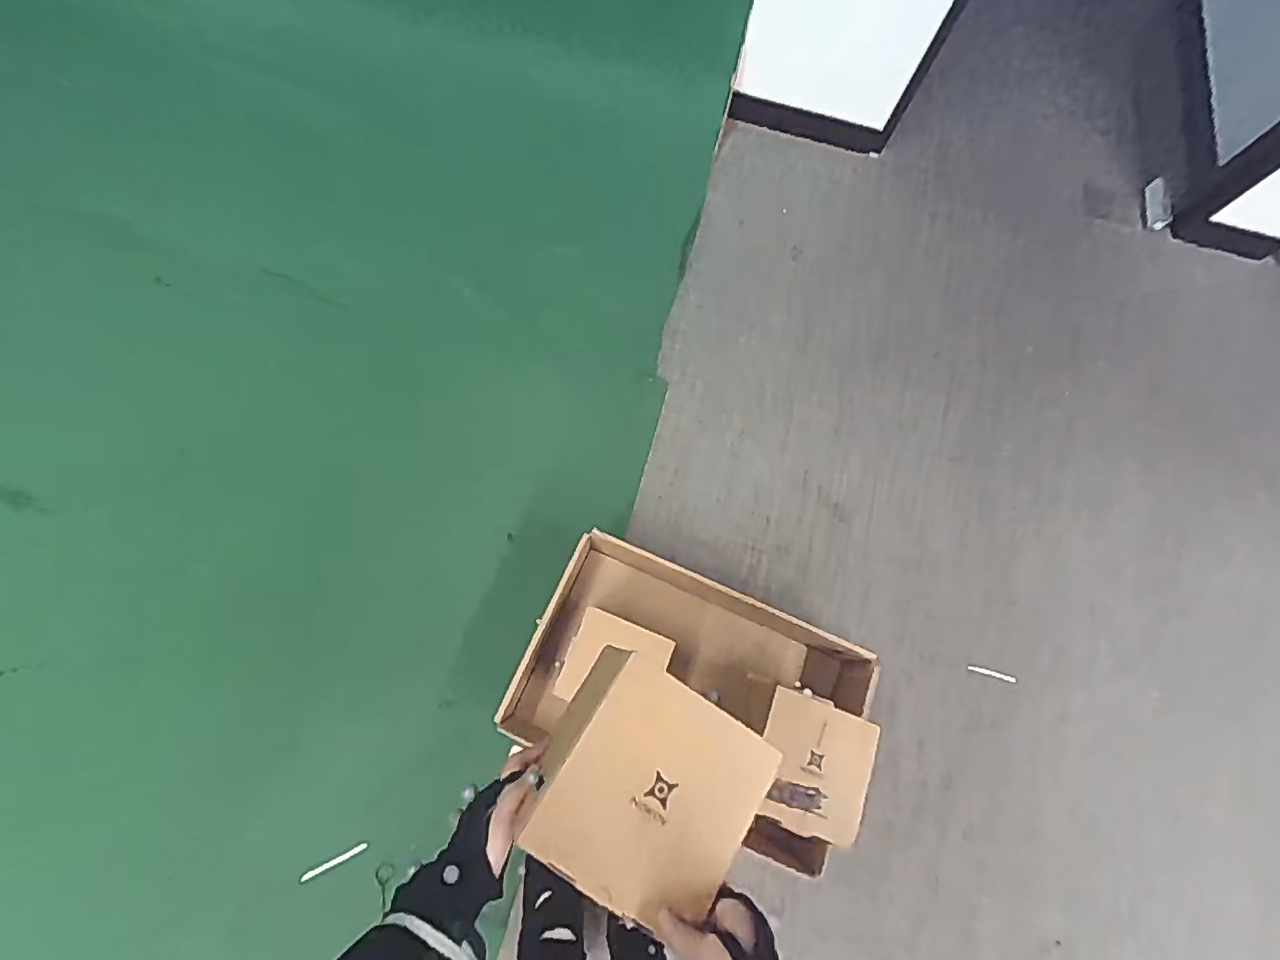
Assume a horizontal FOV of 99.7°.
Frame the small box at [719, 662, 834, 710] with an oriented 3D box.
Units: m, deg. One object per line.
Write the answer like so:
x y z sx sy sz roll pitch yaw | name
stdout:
0.238 0.456 1.014 0.168 0.176 0.179 19 74 2 | small box

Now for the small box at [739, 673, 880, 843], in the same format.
0.245 0.422 0.854 0.168 0.176 0.179 21 73 3 | small box

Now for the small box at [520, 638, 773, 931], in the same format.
-0.004 0.275 0.541 0.168 0.176 0.179 34 73 -1 | small box
